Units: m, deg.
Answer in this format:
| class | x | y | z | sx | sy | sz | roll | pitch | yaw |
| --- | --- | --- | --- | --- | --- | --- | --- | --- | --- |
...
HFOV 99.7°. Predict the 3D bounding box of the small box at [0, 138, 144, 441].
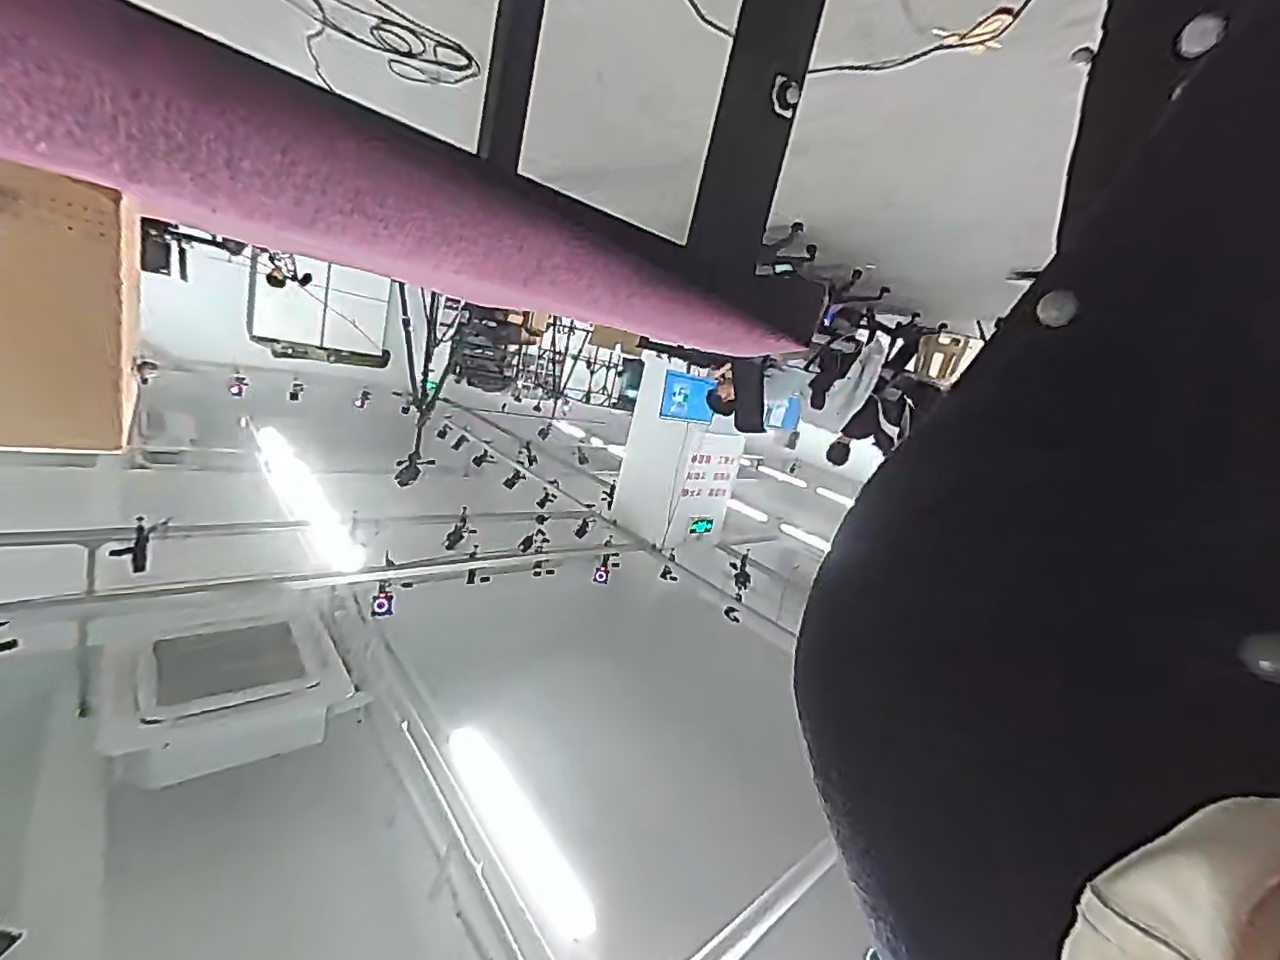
| class | x | y | z | sx | sy | sz | roll | pitch | yaw |
| --- | --- | --- | --- | --- | --- | --- | --- | --- | --- |
| small box | -0.436 | -0.134 | 0.348 | 0.168 | 0.176 | 0.179 | 2 | -163 | -41 |
